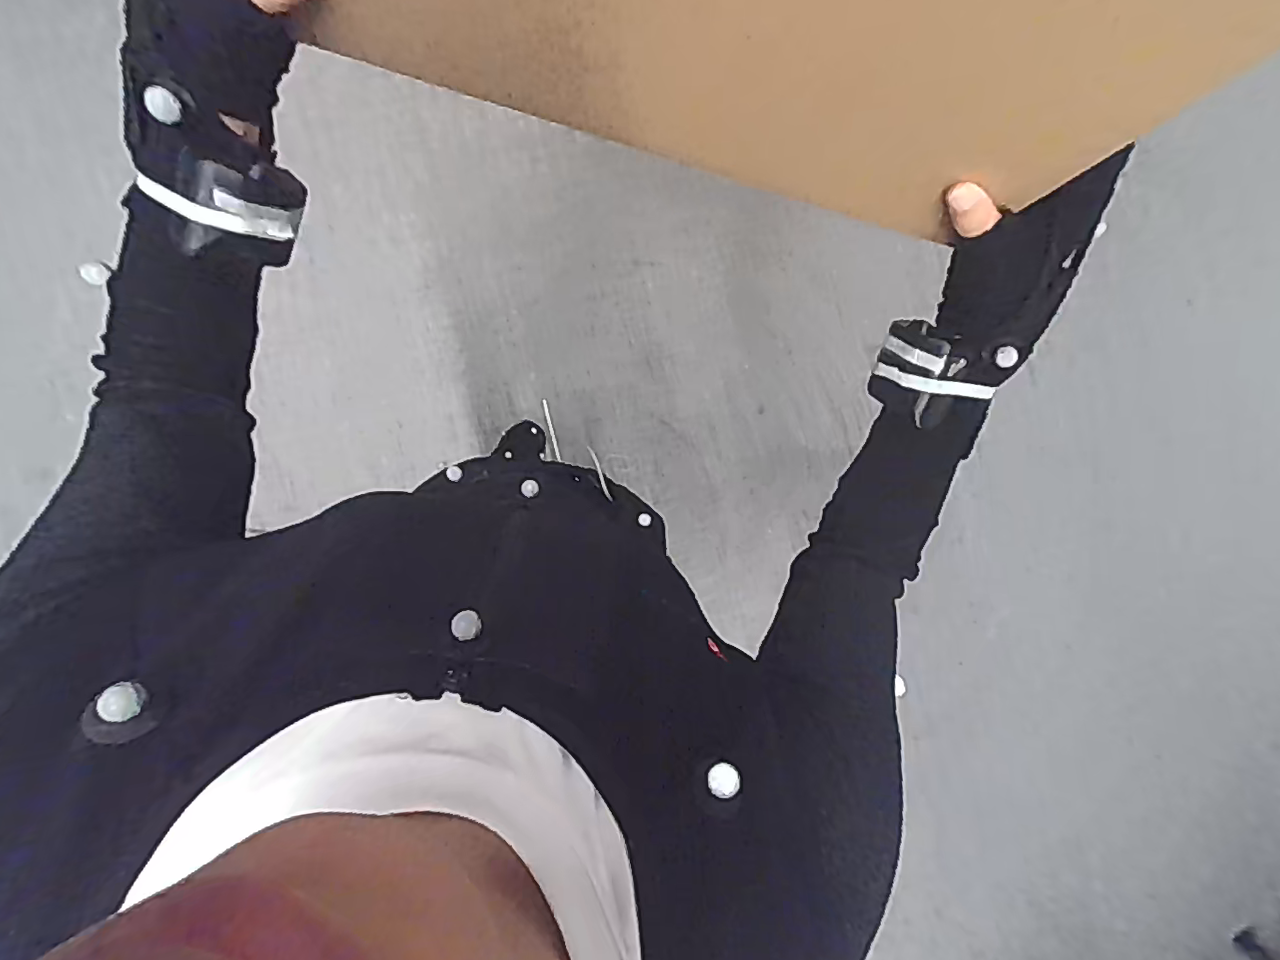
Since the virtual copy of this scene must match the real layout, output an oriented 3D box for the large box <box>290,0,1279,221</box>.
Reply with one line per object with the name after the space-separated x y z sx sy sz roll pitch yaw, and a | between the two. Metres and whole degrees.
0.070 -0.347 0.174 0.408 0.320 0.320 11 88 -10 | large box
